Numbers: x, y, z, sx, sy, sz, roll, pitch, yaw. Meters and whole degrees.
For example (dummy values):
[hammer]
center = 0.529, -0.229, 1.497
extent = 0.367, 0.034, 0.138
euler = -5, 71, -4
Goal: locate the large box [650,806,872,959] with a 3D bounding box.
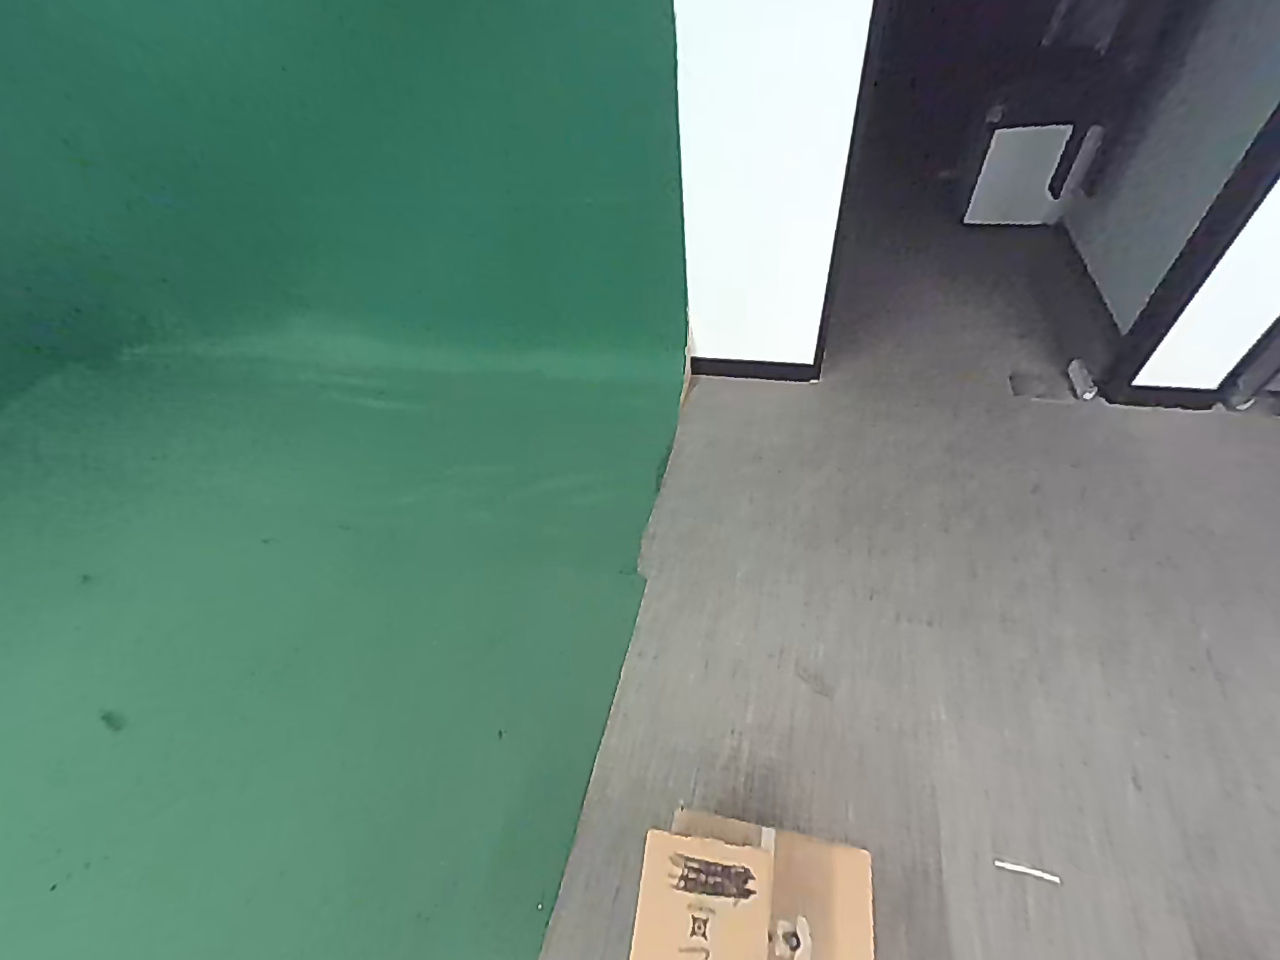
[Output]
[large box]
center = 0.185, 0.812, 0.865
extent = 0.320, 0.320, 0.408
euler = 5, 49, 14
